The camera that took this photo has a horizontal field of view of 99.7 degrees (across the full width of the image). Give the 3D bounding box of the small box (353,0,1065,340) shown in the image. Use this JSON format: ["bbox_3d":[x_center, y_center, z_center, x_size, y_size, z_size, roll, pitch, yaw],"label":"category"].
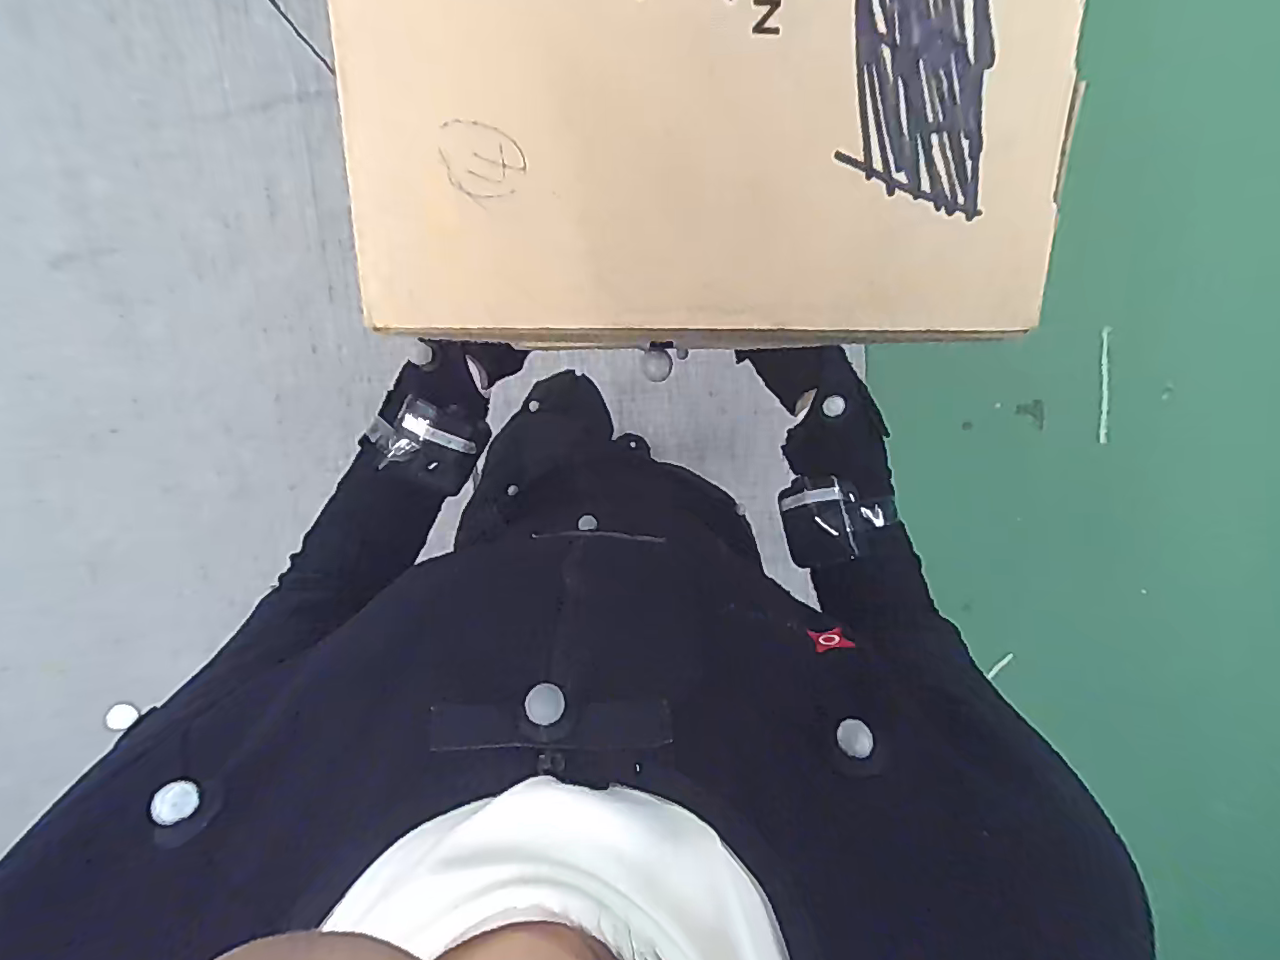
[{"bbox_3d":[0.014,-0.142,0.203,0.179,0.176,0.168,-4,104,-4],"label":"small box"}]
